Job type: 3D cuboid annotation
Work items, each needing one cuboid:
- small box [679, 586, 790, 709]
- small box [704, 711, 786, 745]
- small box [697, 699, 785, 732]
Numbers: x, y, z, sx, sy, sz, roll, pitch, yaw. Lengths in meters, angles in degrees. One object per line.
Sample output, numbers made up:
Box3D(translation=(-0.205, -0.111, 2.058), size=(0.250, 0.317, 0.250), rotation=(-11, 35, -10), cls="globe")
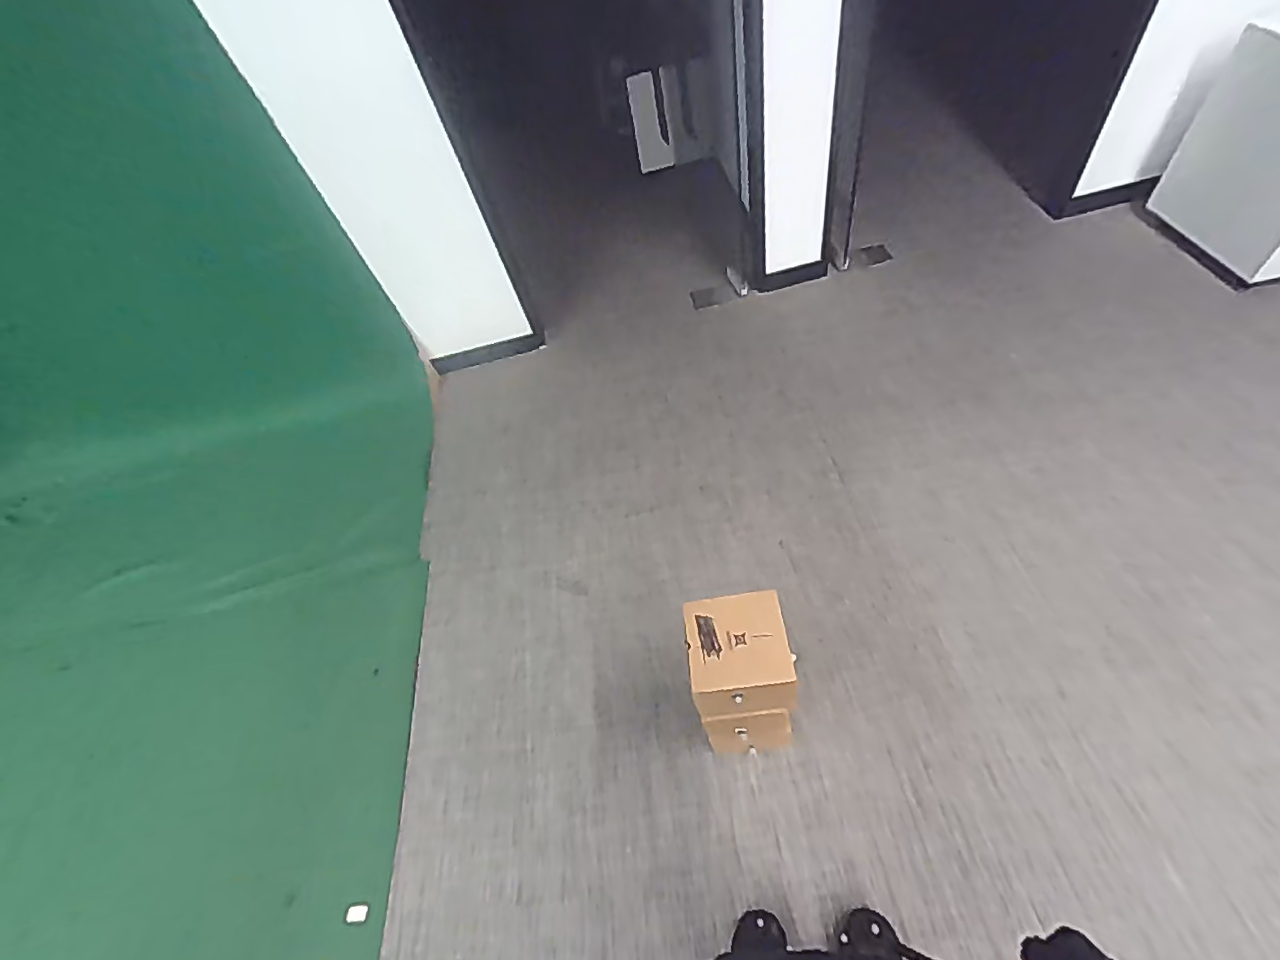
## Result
Box3D(translation=(0.178, 0.318, 1.010), size=(0.179, 0.176, 0.168), rotation=(-9, 53, 8), cls="small box")
Box3D(translation=(0.237, 0.513, 1.266), size=(0.179, 0.176, 0.168), rotation=(-9, 53, 7), cls="small box")
Box3D(translation=(0.204, 0.415, 1.141), size=(0.168, 0.176, 0.179), rotation=(-11, 54, 8), cls="small box")
